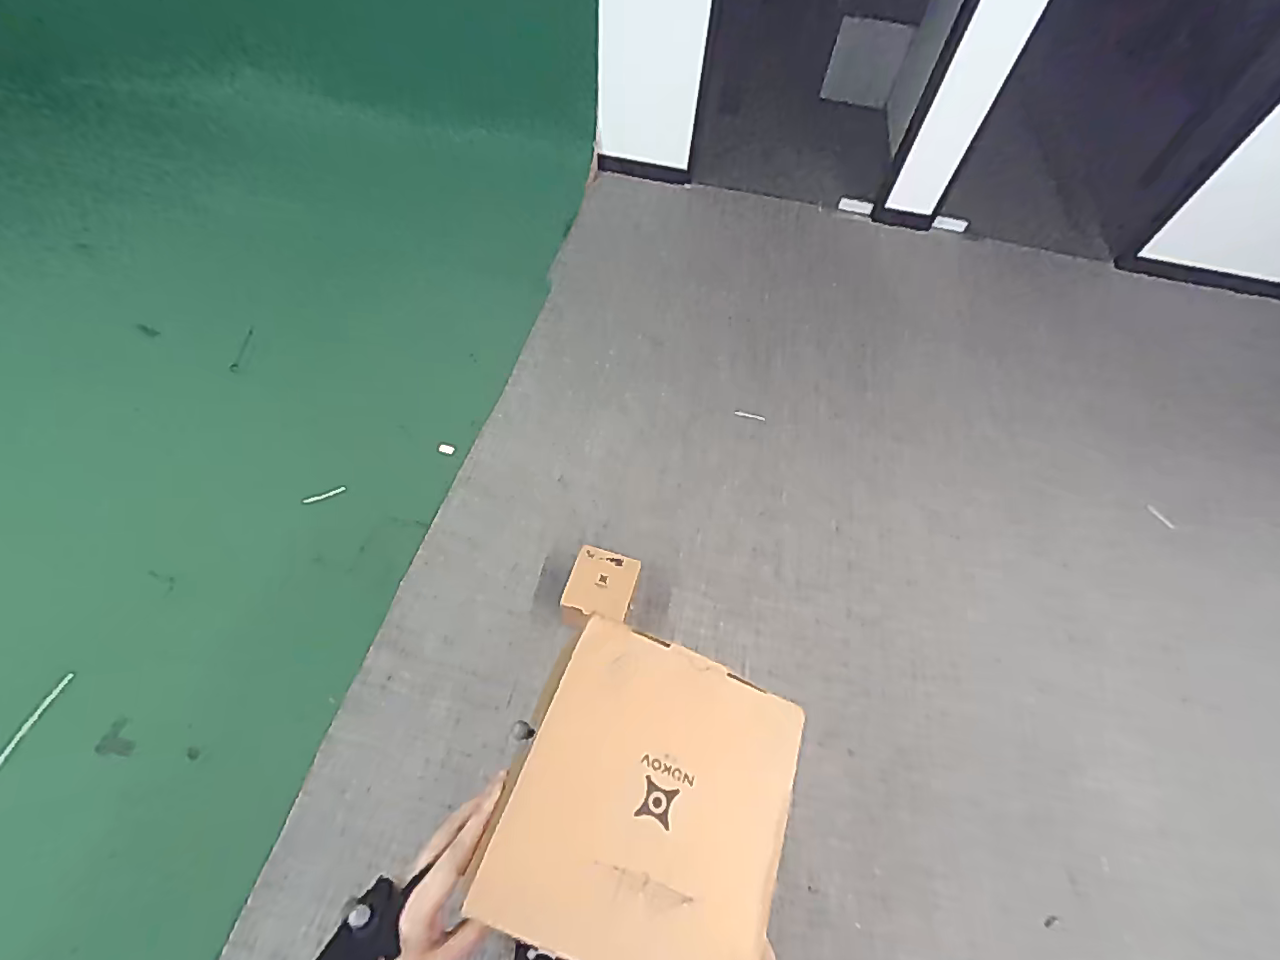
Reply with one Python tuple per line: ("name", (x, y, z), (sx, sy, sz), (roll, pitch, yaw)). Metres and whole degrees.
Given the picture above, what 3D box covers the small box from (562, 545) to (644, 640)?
("small box", (-0.094, 0.303, 1.429), (0.168, 0.176, 0.179), (16, 58, 6))
